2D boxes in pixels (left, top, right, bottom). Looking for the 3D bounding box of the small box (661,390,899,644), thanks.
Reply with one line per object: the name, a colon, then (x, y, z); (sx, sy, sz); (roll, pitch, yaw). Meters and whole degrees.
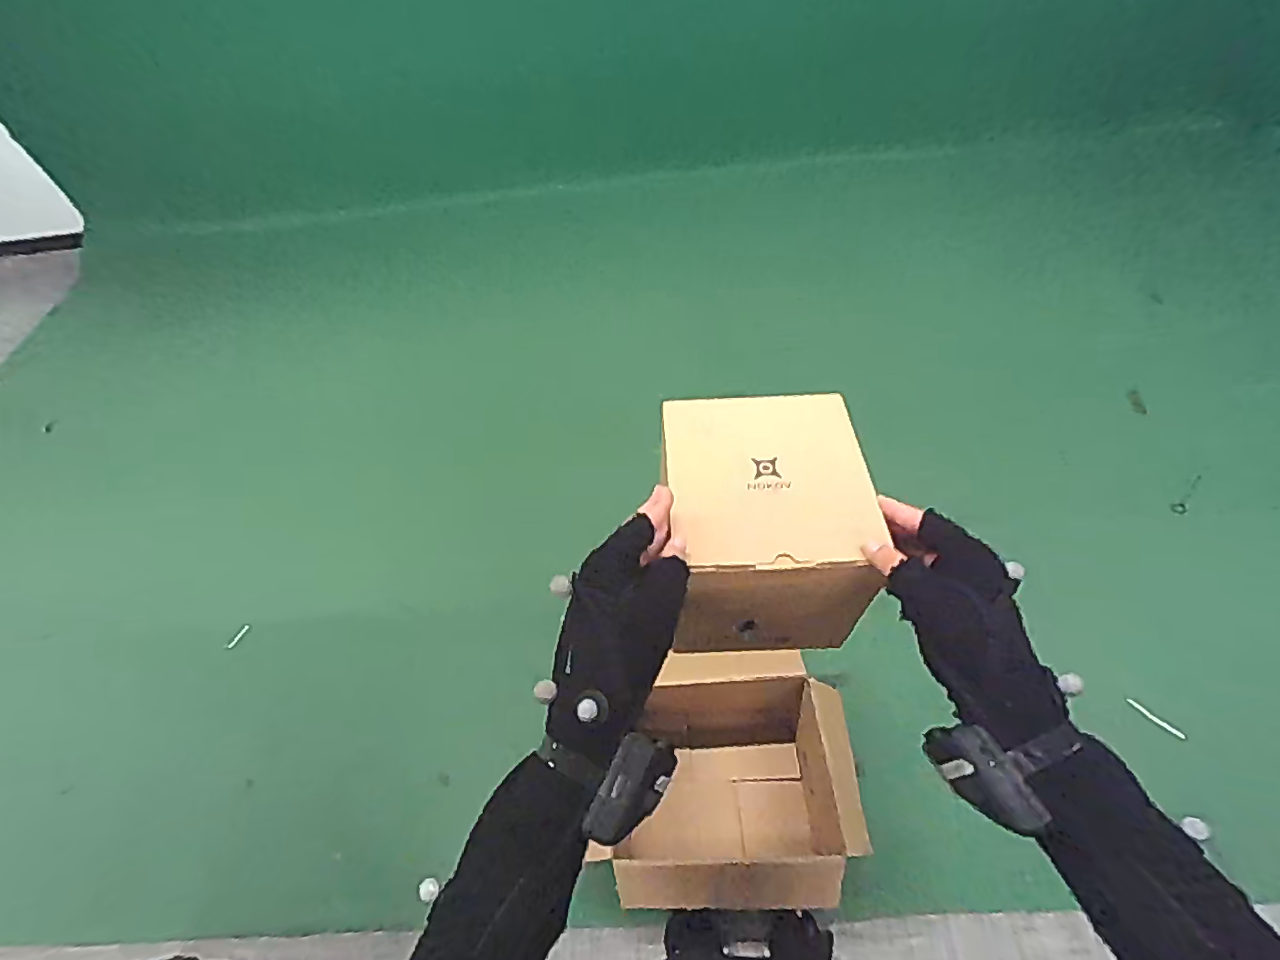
small box: (0.106, 0.038, 0.503); (0.168, 0.176, 0.179); (-2, 54, 1)
